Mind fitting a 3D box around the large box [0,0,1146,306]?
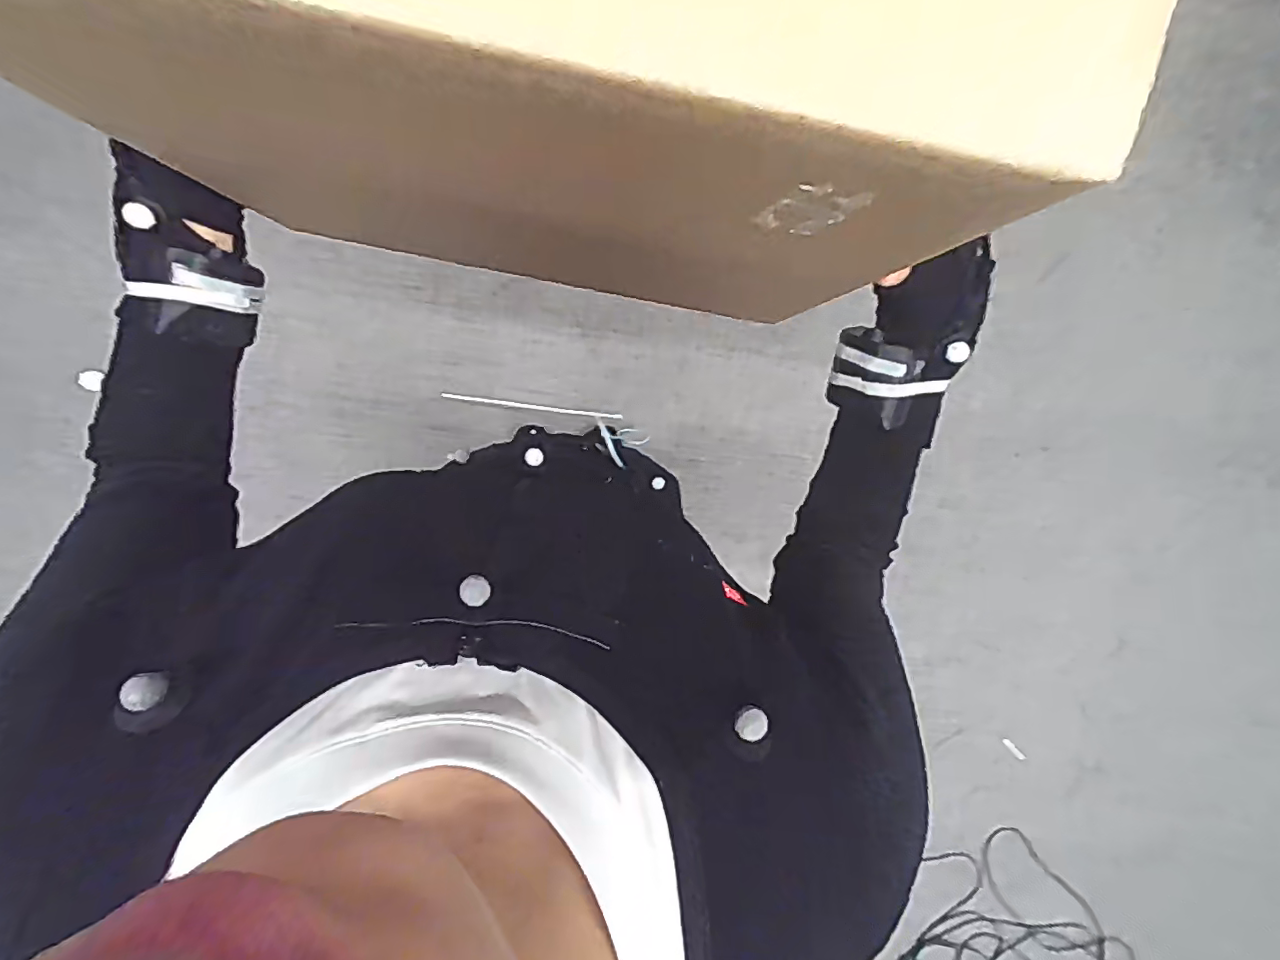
[{"bbox_3d":[-0.038,-0.301,0.274,0.408,0.320,0.320,10,99,-6],"label":"large box"}]
